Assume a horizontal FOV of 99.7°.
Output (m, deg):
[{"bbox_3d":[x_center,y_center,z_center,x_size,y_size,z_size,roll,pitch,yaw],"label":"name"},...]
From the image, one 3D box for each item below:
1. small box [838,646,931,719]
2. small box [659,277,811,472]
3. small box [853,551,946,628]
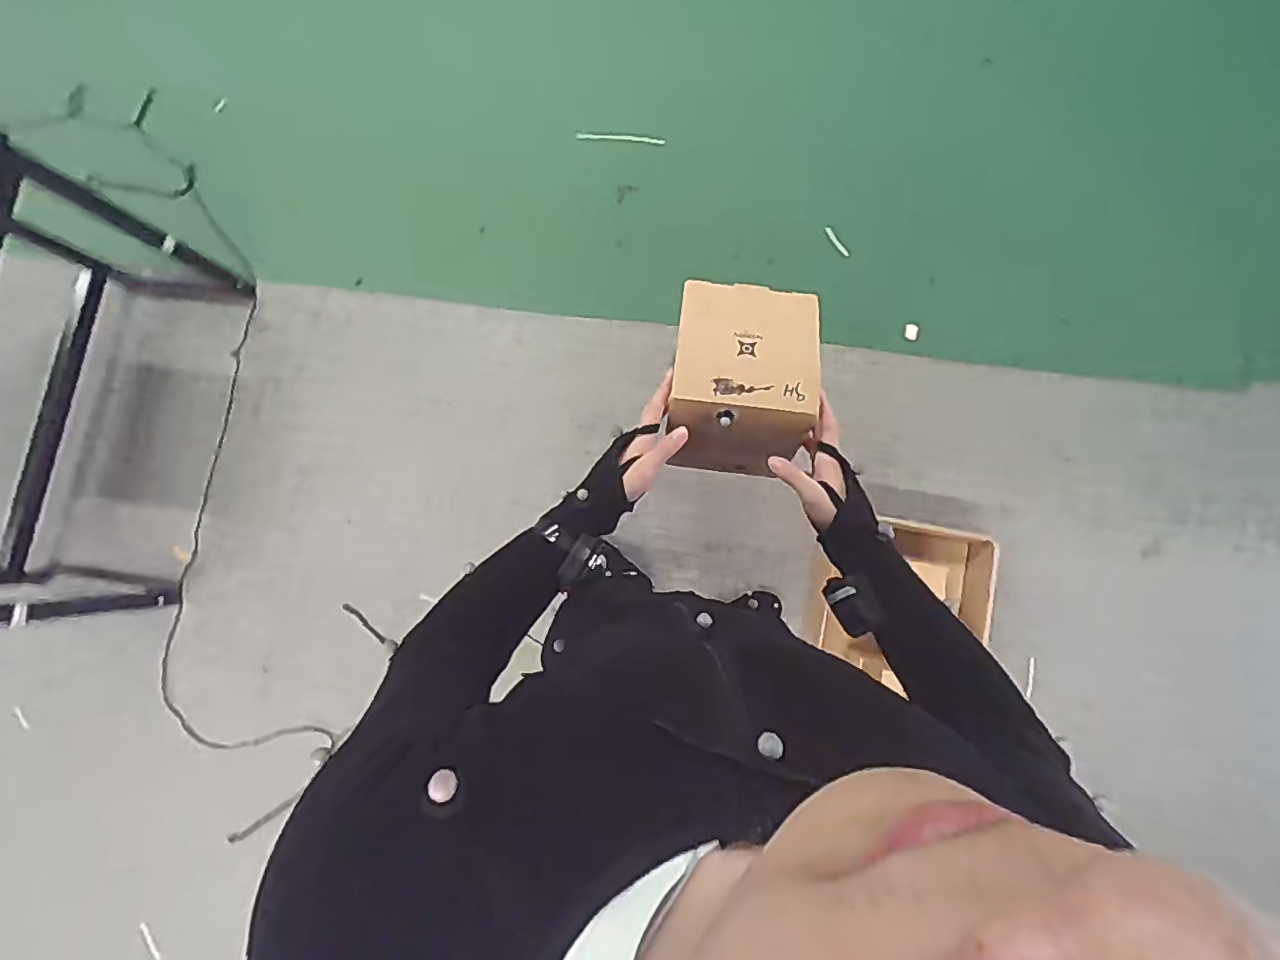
[{"bbox_3d":[0.633,0.542,1.419,0.179,0.176,0.168,10,84,8],"label":"small box"},{"bbox_3d":[0.116,-0.131,0.707,0.168,0.176,0.179,7,66,2],"label":"small box"},{"bbox_3d":[0.684,0.286,1.443,0.179,0.176,0.168,9,85,9],"label":"small box"}]
